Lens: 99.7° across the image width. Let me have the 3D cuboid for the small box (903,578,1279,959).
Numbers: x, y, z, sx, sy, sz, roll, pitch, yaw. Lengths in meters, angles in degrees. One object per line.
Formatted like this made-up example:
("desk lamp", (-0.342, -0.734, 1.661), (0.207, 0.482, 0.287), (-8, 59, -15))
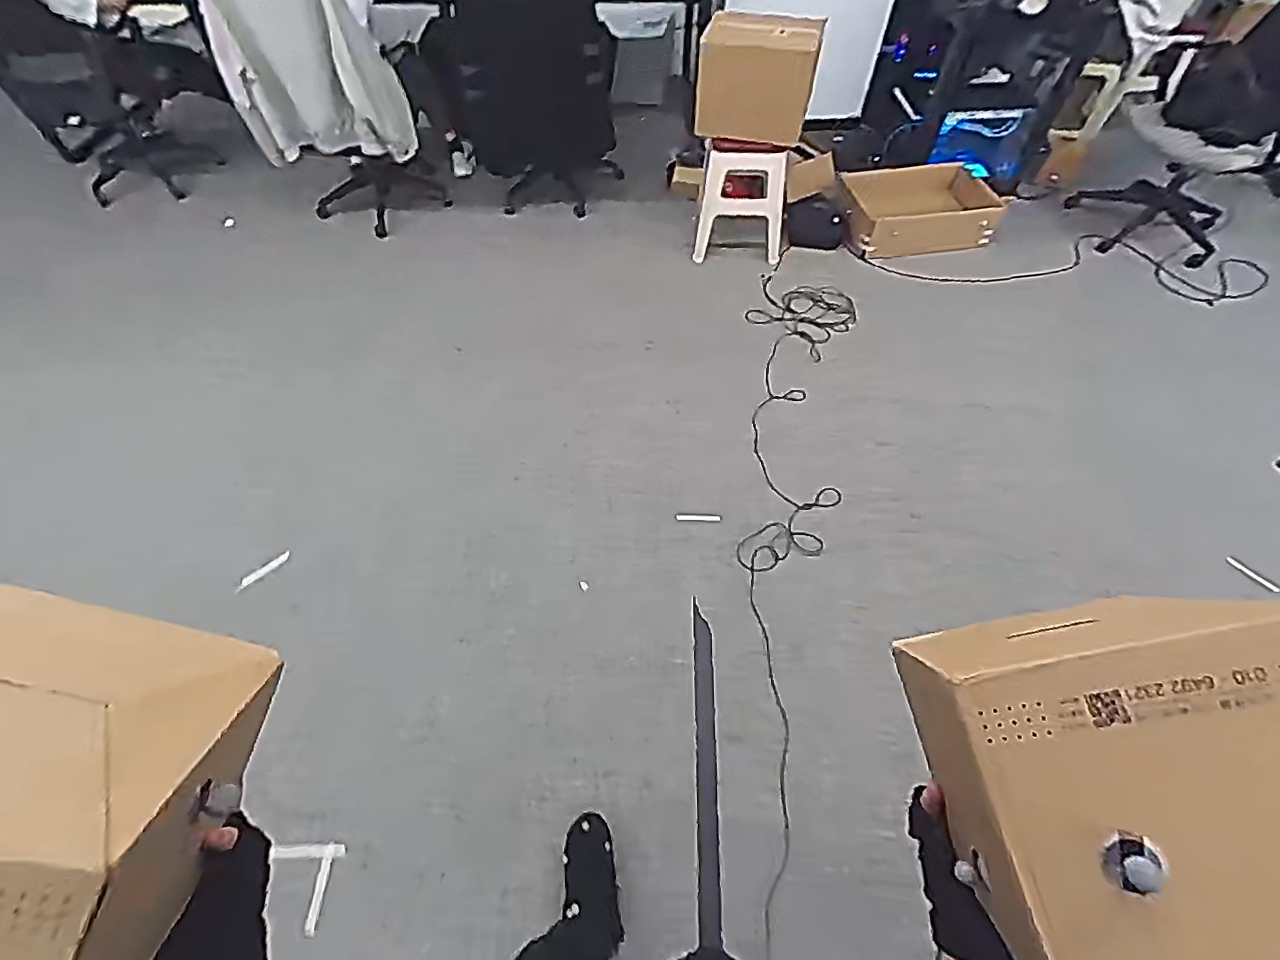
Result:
("small box", (0.268, 0.153, 0.304), (0.168, 0.179, 0.176), (-15, 76, 13))

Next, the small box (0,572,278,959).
("small box", (-0.309, 0.159, 0.248), (0.168, 0.179, 0.176), (22, 92, -17))
